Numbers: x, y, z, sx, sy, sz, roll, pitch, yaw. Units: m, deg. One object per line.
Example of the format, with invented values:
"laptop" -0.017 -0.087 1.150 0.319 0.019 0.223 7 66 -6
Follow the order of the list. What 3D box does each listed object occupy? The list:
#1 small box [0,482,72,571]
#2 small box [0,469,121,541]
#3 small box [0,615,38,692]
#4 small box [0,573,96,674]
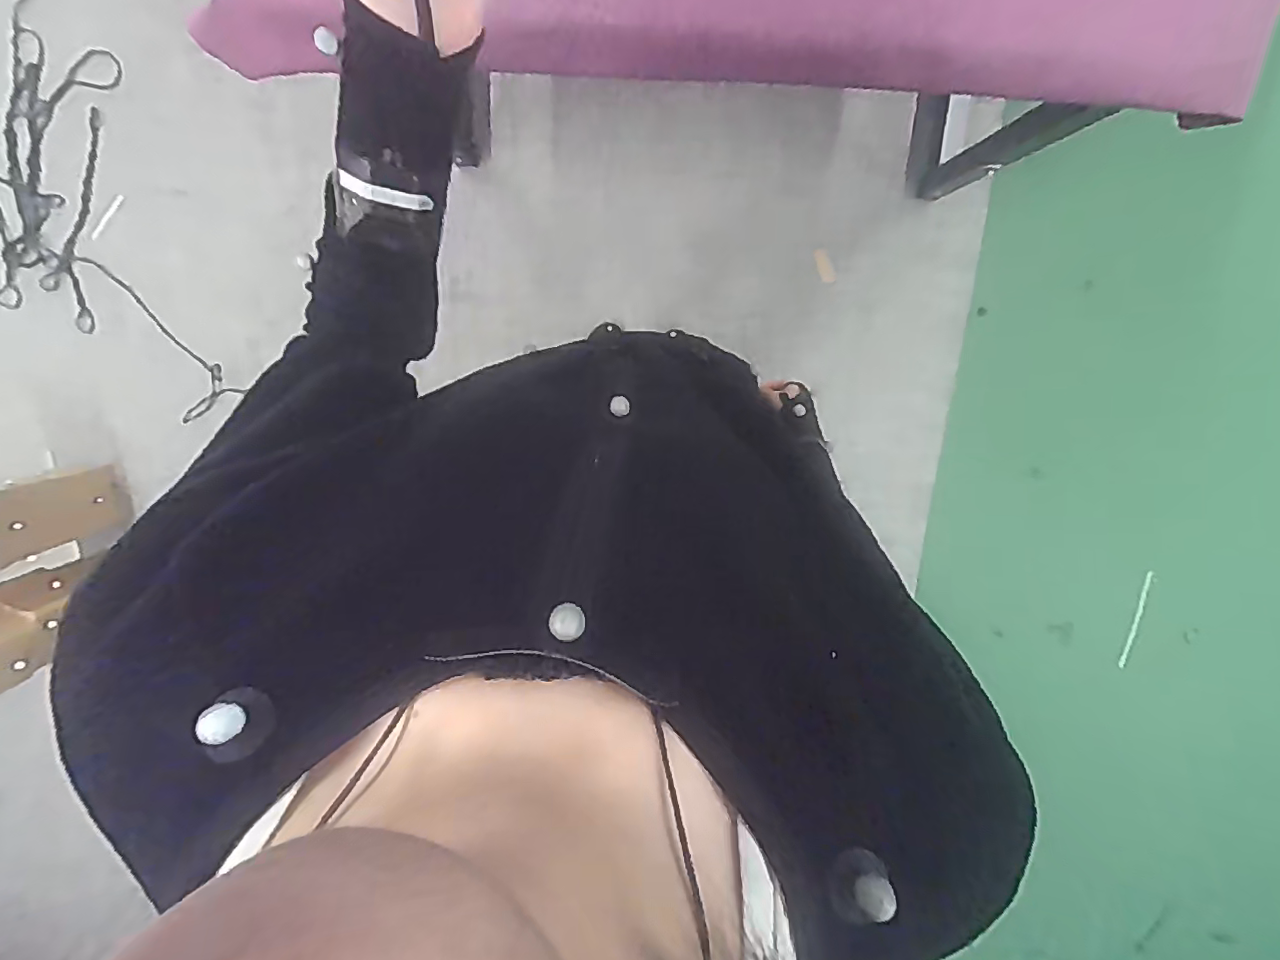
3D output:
"small box" -1.580 0.118 1.330 0.168 0.176 0.179 -9 105 3
"small box" -1.590 0.070 1.485 0.179 0.176 0.168 -5 104 3
"small box" -1.570 0.414 1.240 0.179 0.176 0.168 24 103 -5
"small box" -1.574 0.371 1.399 0.168 0.176 0.179 20 103 -3
